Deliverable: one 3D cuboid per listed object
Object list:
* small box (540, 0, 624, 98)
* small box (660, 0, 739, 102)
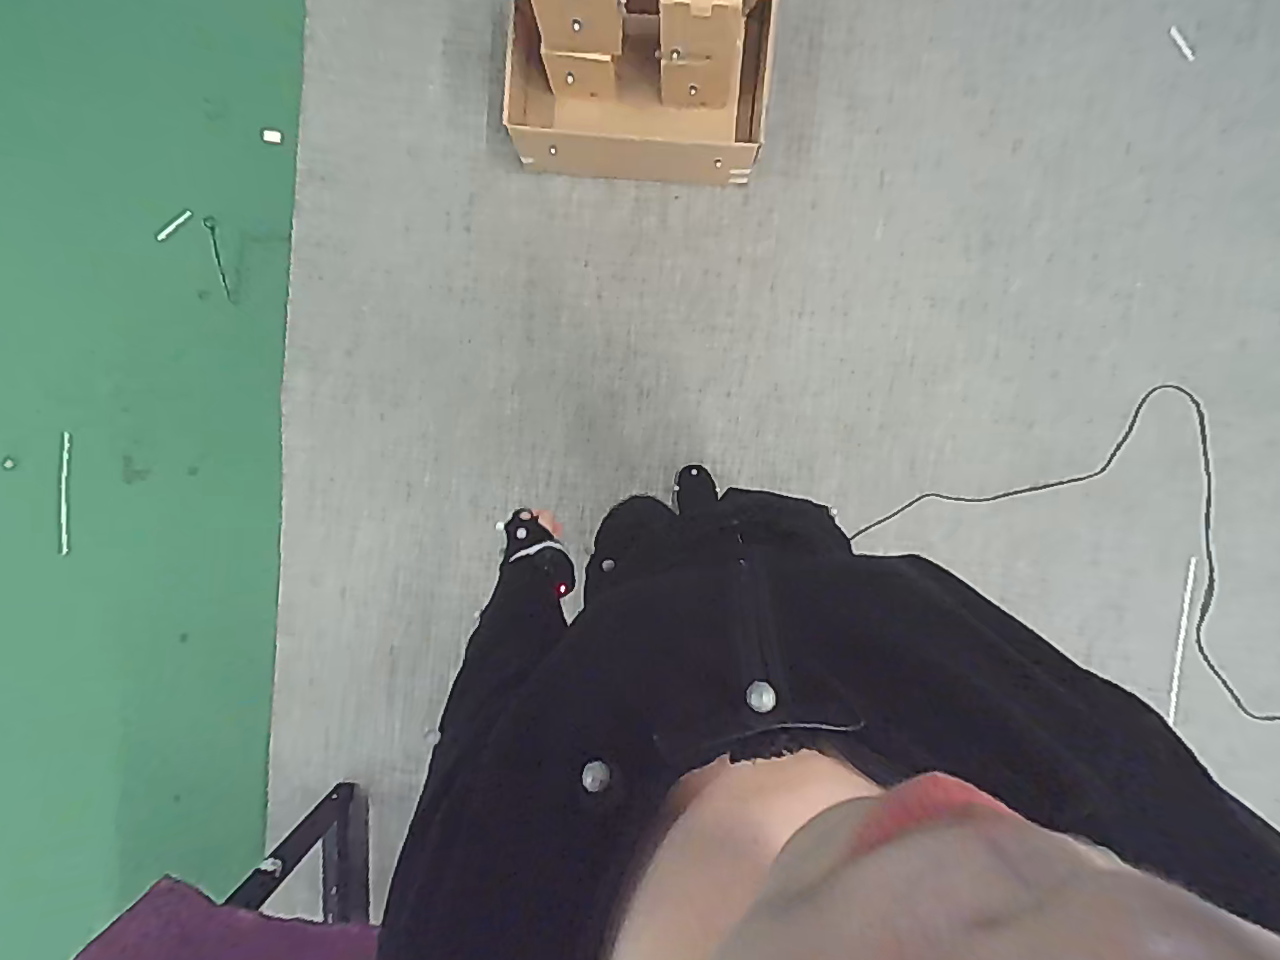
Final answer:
[{"bbox_3d":[-0.132,-1.066,1.302,0.168,0.176,0.179,9,94,1],"label":"small box"},{"bbox_3d":[0.140,-1.039,1.289,0.168,0.176,0.179,5,95,3],"label":"small box"}]
